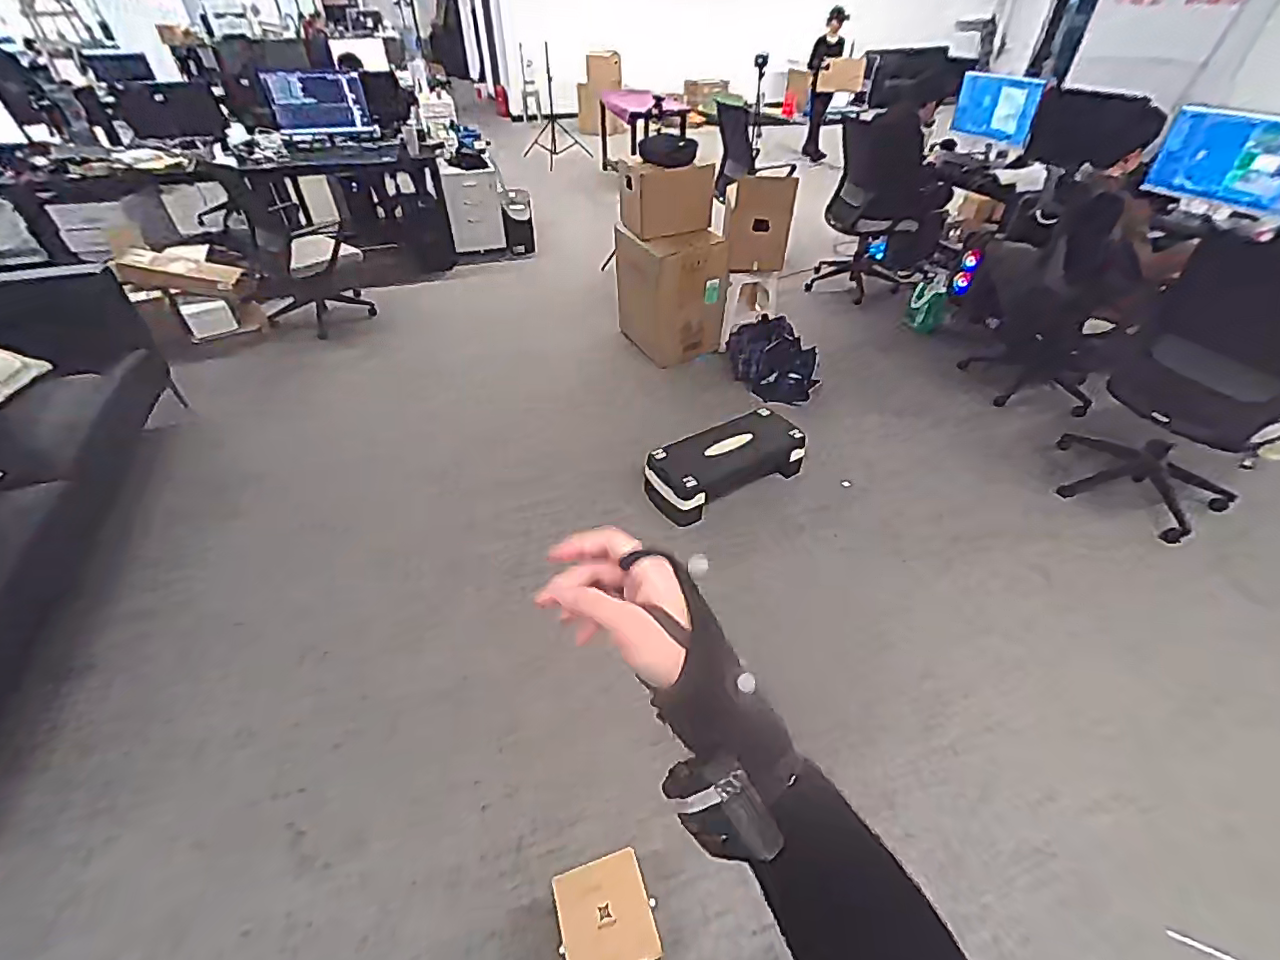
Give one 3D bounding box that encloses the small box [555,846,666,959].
[{"bbox_3d":[-0.056,0.846,1.029,0.168,0.176,0.179,-13,43,-16],"label":"small box"}]
